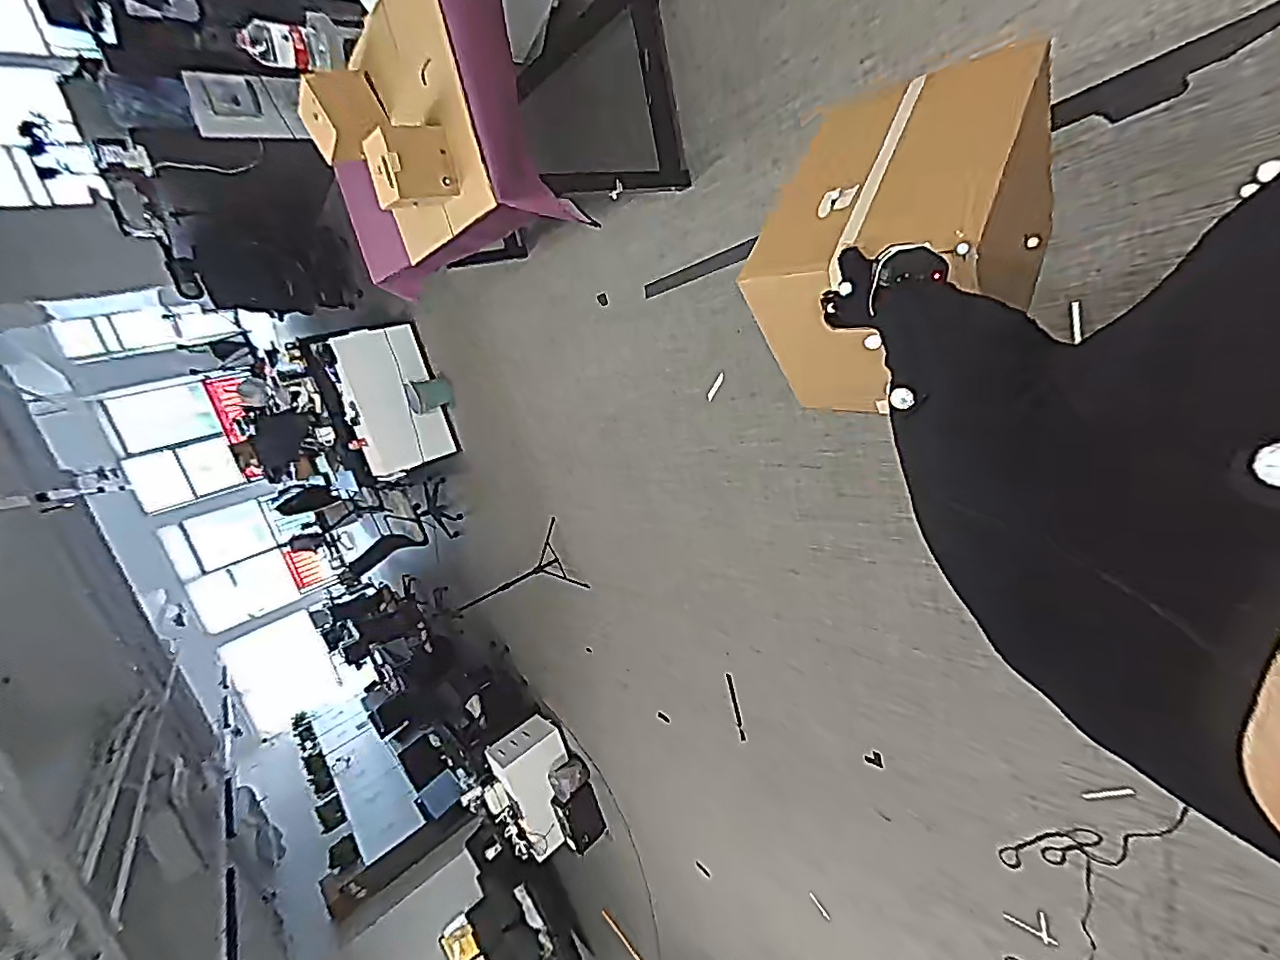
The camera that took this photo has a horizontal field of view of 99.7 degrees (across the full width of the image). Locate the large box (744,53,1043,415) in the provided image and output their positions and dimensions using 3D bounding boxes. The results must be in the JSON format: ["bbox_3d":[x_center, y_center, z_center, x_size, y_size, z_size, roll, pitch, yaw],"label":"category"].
[{"bbox_3d":[0.430,-0.363,0.878,0.320,0.408,0.320,11,156,43],"label":"large box"}]
